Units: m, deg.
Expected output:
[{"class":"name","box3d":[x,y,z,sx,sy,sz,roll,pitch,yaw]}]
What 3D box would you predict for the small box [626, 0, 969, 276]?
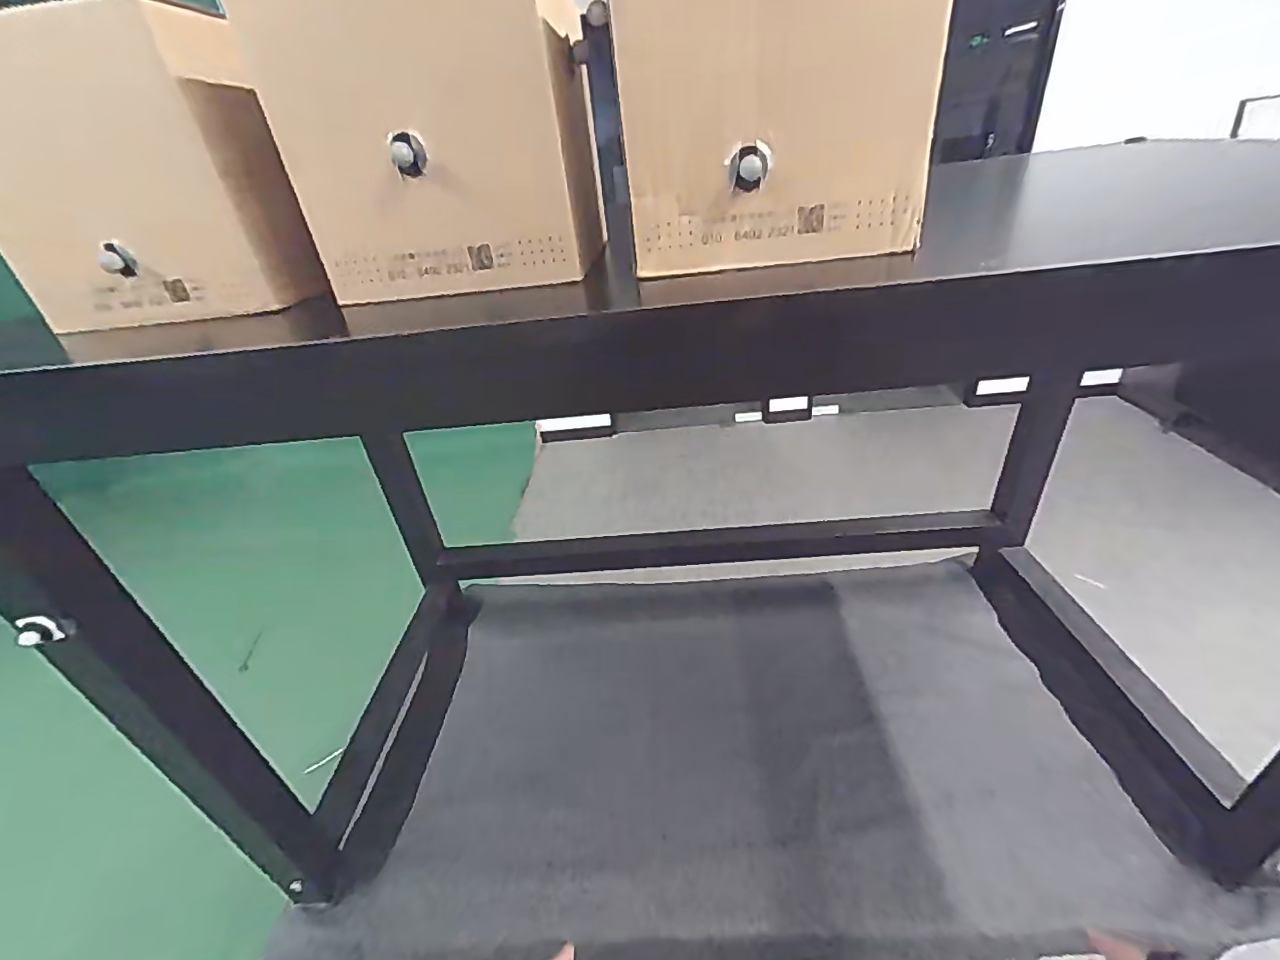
[{"class":"small box","box3d":[0.081,-0.237,0.350,0.168,0.176,0.179,-3,32,5]}]
